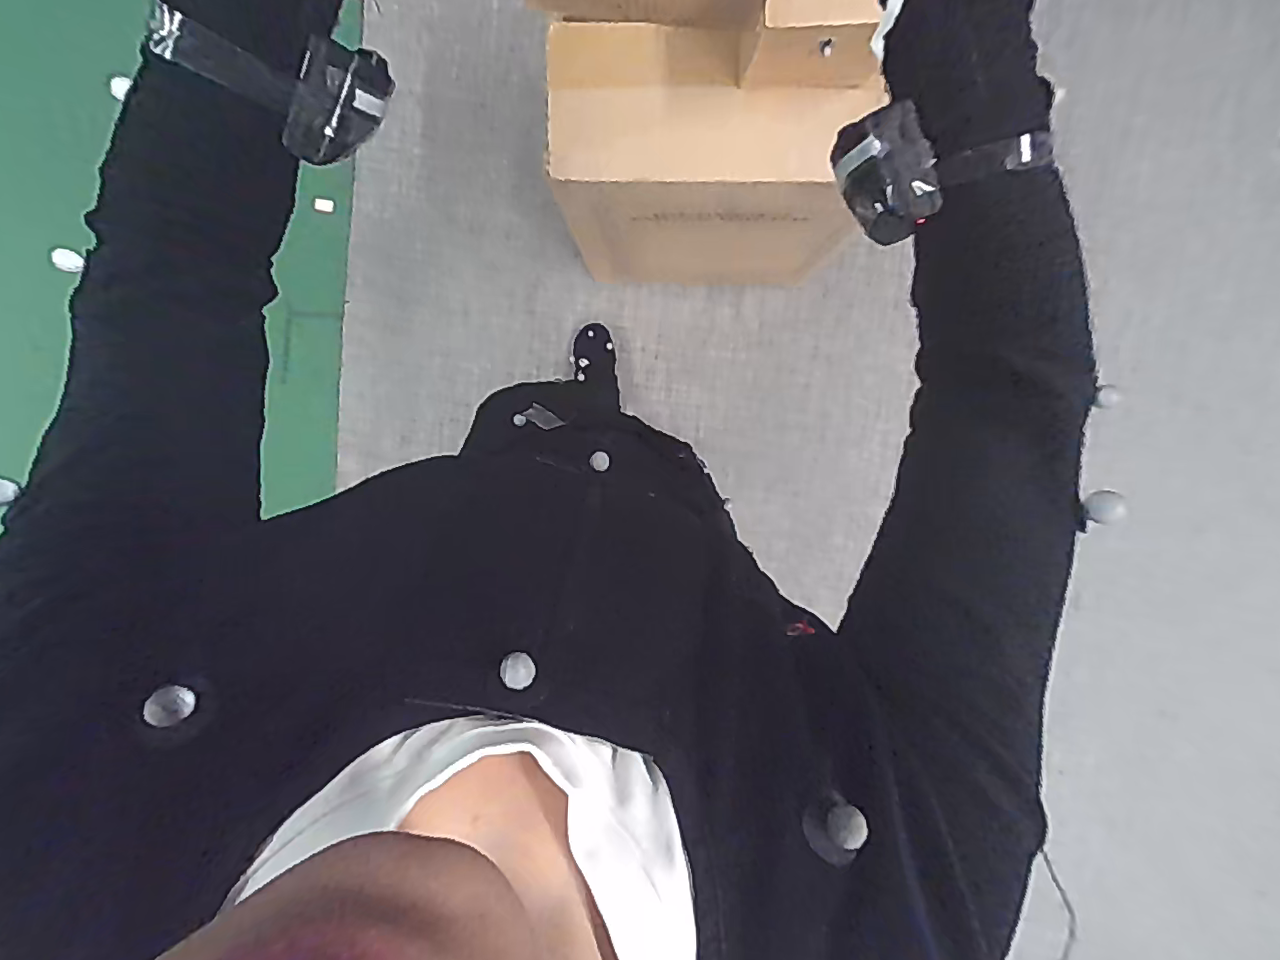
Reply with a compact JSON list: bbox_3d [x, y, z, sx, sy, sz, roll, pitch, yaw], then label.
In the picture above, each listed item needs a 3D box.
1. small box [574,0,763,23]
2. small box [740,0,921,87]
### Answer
[{"bbox_3d":[0.014,-0.417,0.314,0.179,0.176,0.168,4,95,-4],"label":"small box"},{"bbox_3d":[0.219,-0.601,0.651,0.179,0.176,0.168,-2,106,1],"label":"small box"}]
